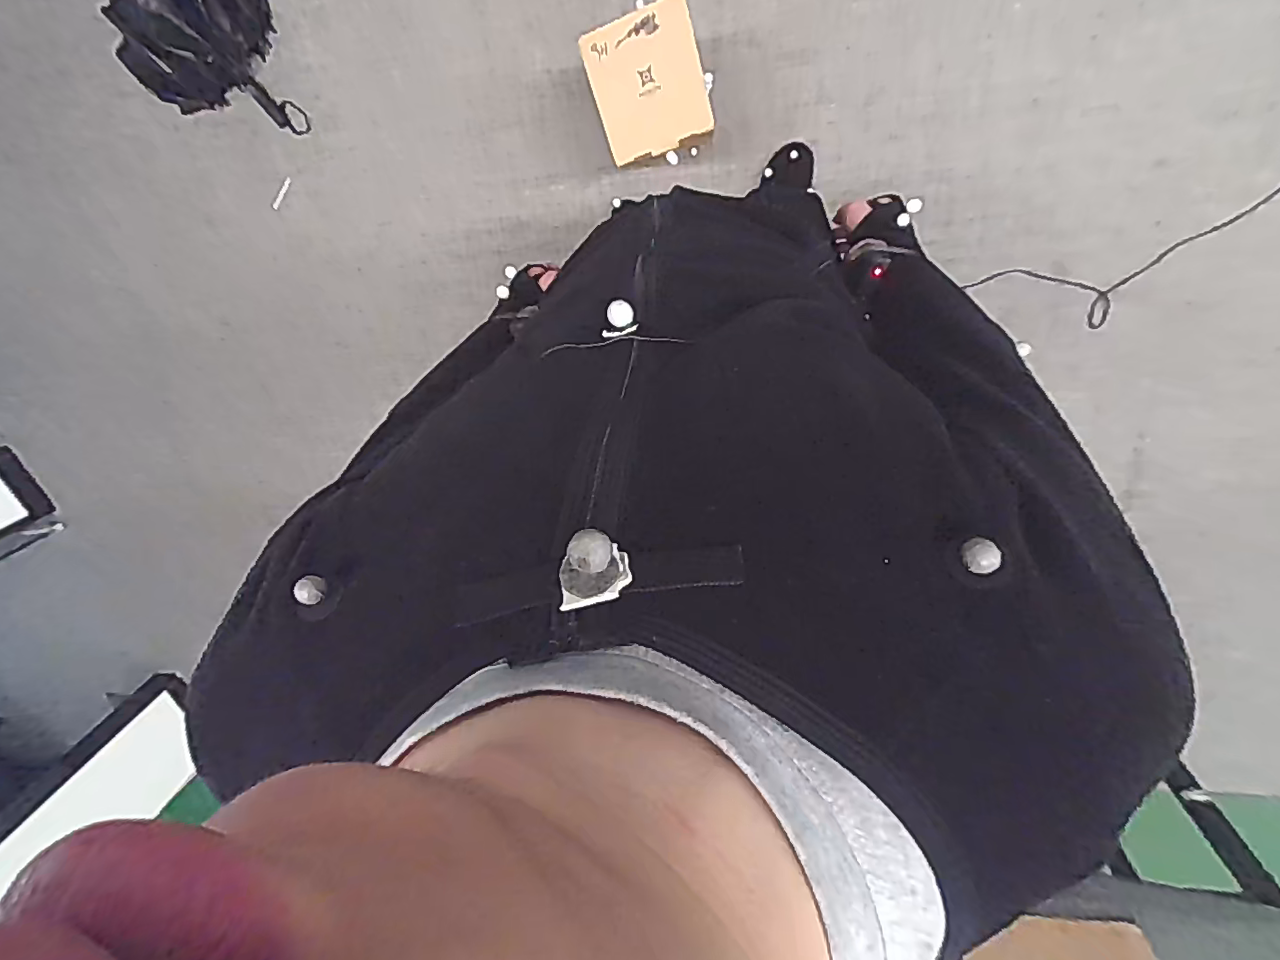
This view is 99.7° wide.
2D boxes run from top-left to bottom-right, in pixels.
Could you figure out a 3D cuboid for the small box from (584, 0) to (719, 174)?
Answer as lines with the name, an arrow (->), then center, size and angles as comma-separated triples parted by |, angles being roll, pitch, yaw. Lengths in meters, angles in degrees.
small box -> 0.030, -0.623, 0.877 | 0.168, 0.176, 0.179 | -13, 118, 16
